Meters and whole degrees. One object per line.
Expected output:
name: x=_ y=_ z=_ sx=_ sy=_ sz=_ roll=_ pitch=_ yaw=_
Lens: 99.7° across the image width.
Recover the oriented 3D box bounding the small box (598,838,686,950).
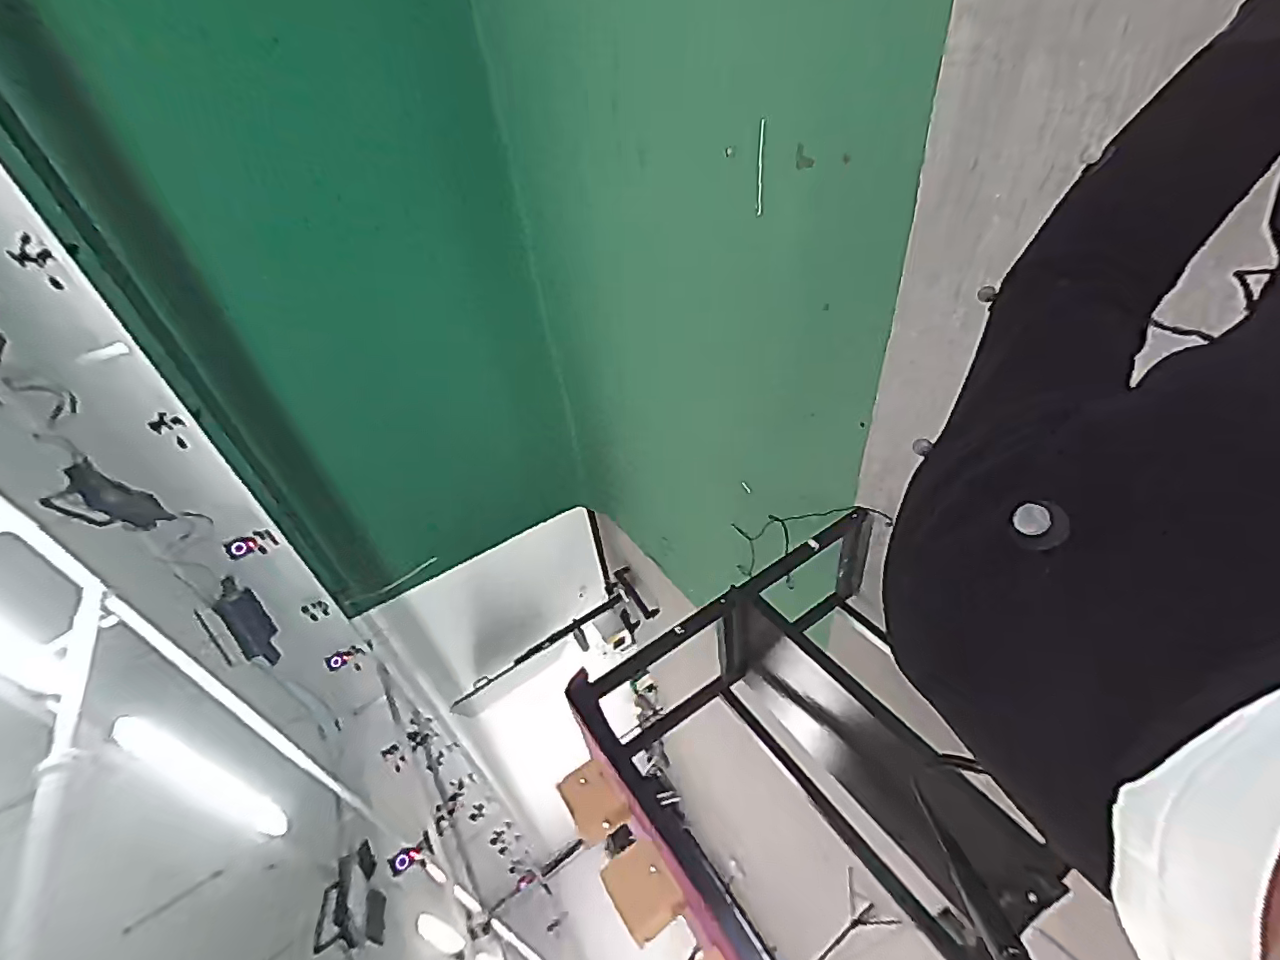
small box: x=0.008 y=1.133 z=1.493 sx=0.179 sy=0.176 sz=0.168 roll=42 pitch=152 yaw=43

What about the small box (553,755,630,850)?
small box: x=-0.146 y=0.999 z=1.683 sx=0.168 sy=0.176 sz=0.179 roll=44 pitch=152 yaw=39
